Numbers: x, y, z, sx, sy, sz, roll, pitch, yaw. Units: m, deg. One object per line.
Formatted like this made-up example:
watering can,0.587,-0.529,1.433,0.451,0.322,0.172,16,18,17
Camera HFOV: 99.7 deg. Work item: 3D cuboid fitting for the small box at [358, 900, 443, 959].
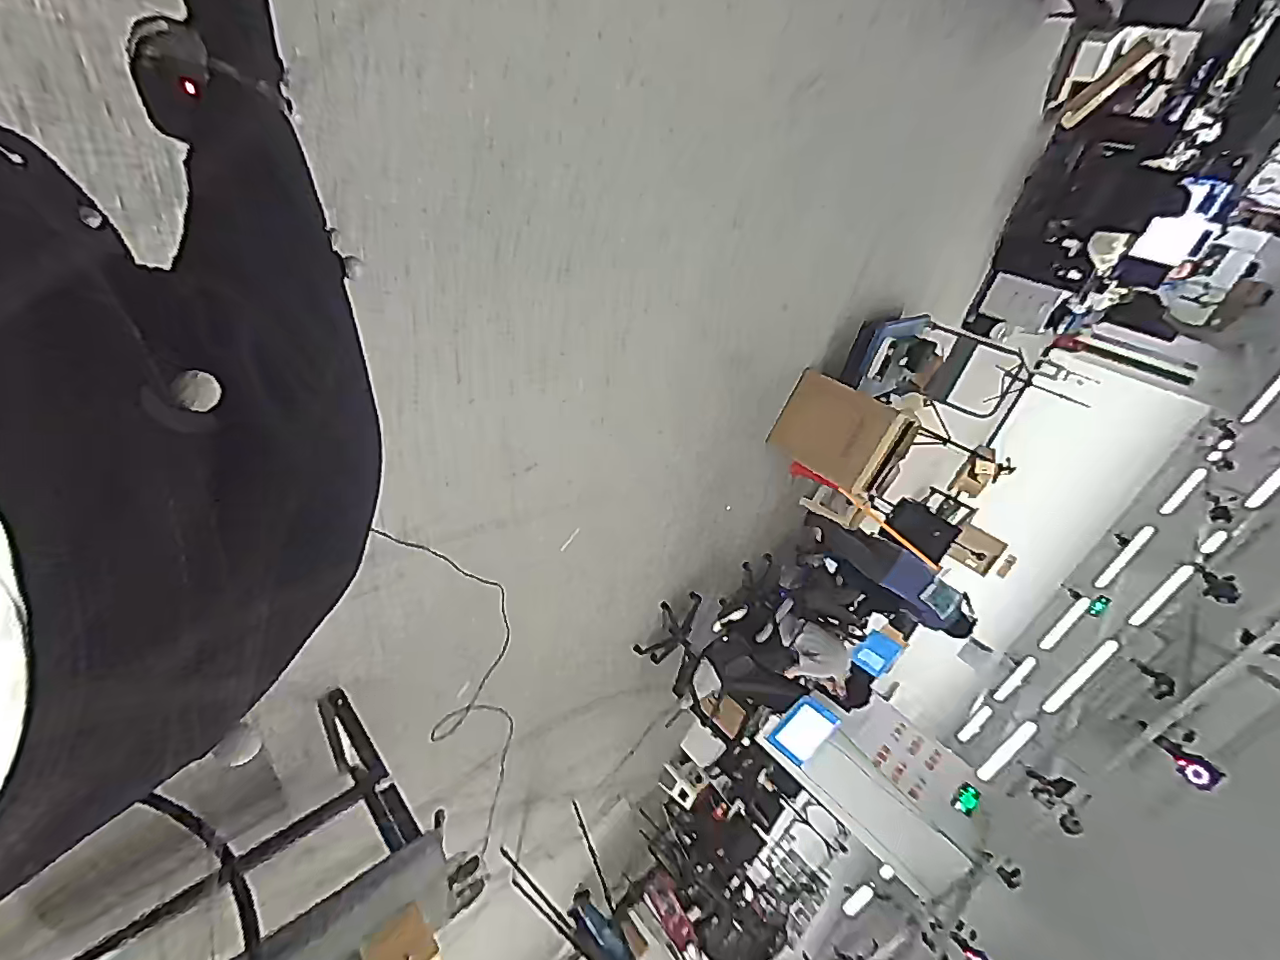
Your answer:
small box,-0.719,1.426,1.628,0.179,0.176,0.168,-23,137,-38
